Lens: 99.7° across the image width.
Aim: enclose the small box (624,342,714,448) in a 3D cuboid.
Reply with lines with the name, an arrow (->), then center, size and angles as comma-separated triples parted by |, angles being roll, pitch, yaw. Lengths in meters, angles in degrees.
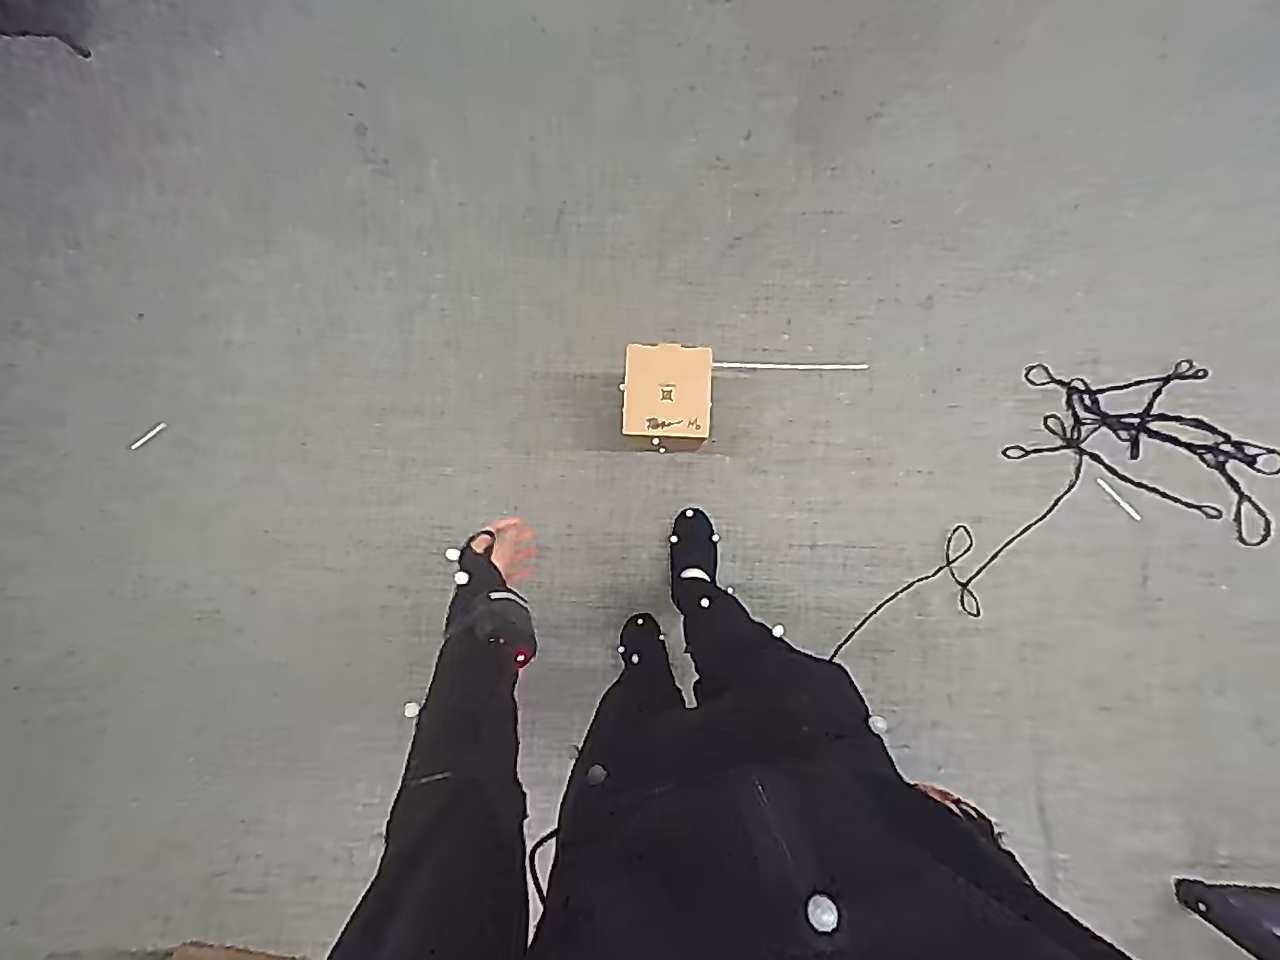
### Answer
small box -> 0.055, -0.166, 1.097 | 0.168, 0.176, 0.179 | 3, 87, 1
